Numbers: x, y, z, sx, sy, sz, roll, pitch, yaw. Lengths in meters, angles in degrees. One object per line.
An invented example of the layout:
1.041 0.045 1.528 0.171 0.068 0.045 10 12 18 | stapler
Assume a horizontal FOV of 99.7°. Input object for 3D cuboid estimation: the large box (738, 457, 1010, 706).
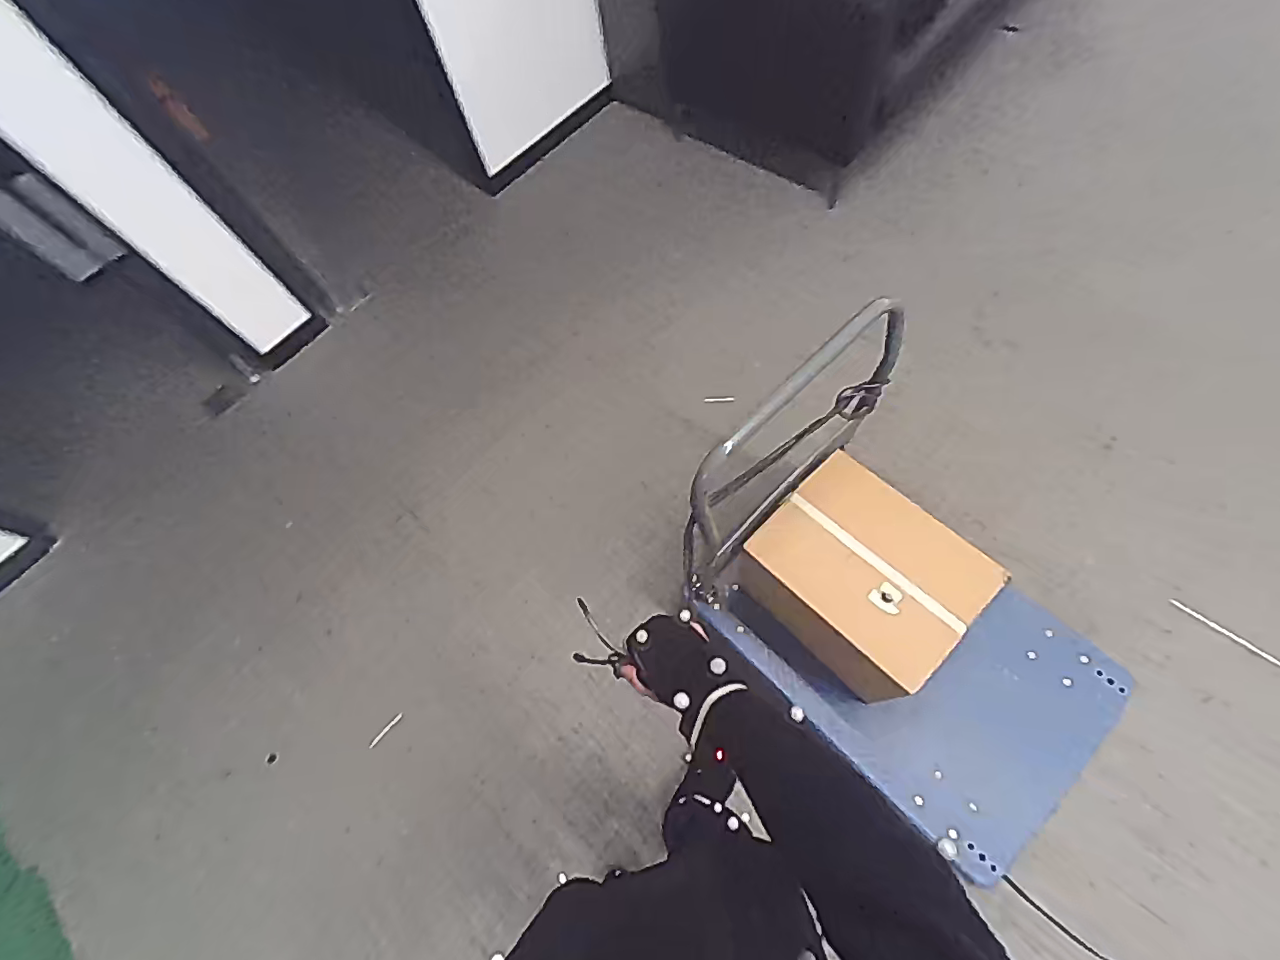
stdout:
0.472 0.230 1.193 0.320 0.320 0.408 -43 67 -12 | large box
